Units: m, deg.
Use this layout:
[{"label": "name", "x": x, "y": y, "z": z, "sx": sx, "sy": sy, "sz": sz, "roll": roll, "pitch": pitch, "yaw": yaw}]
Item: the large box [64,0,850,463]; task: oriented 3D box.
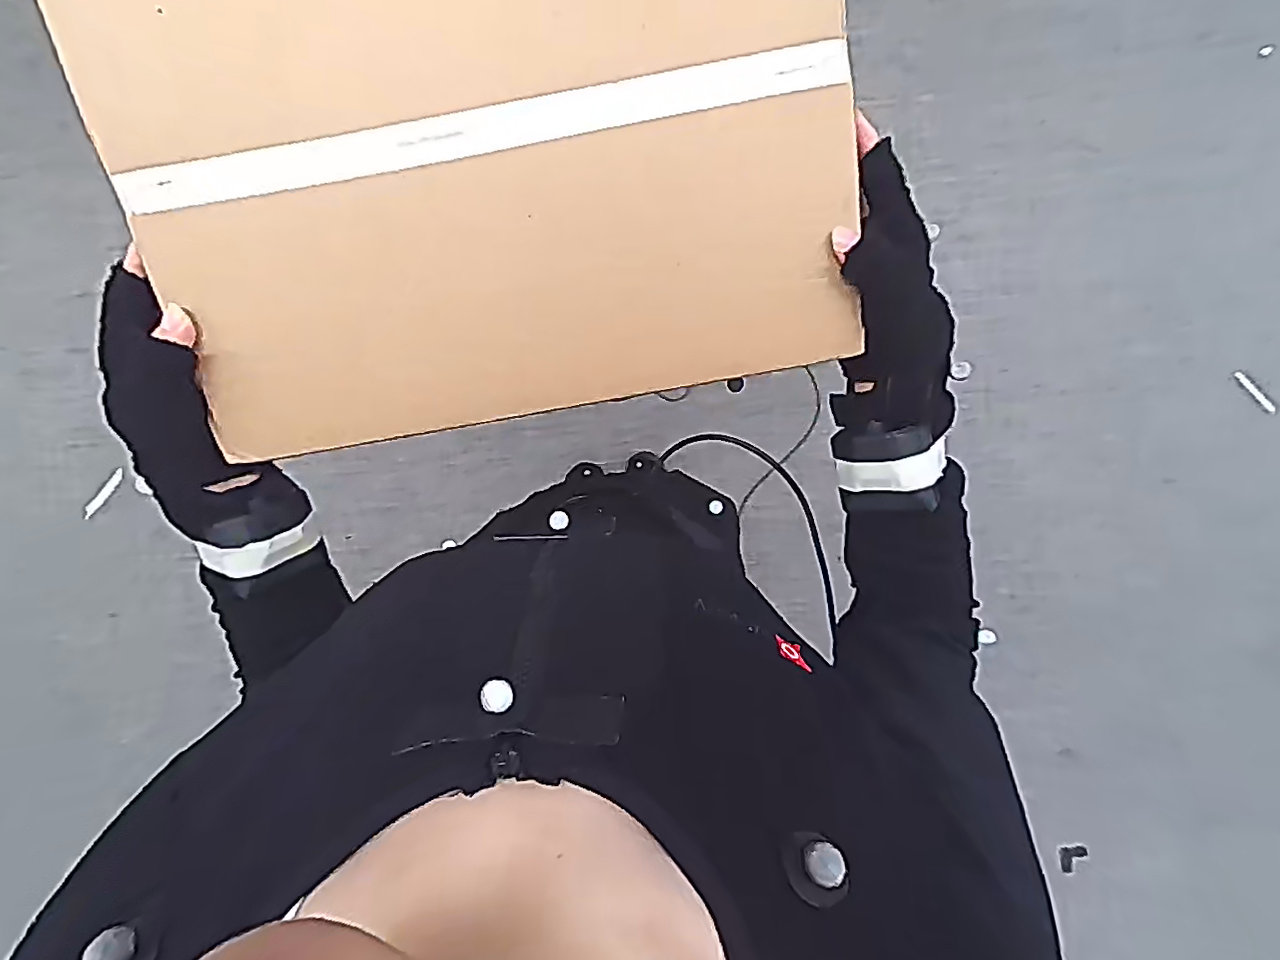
[{"label": "large box", "x": -0.090, "y": -0.233, "z": 0.449, "sx": 0.408, "sy": 0.320, "sz": 0.320, "roll": -10, "pitch": 106, "yaw": 1}]
